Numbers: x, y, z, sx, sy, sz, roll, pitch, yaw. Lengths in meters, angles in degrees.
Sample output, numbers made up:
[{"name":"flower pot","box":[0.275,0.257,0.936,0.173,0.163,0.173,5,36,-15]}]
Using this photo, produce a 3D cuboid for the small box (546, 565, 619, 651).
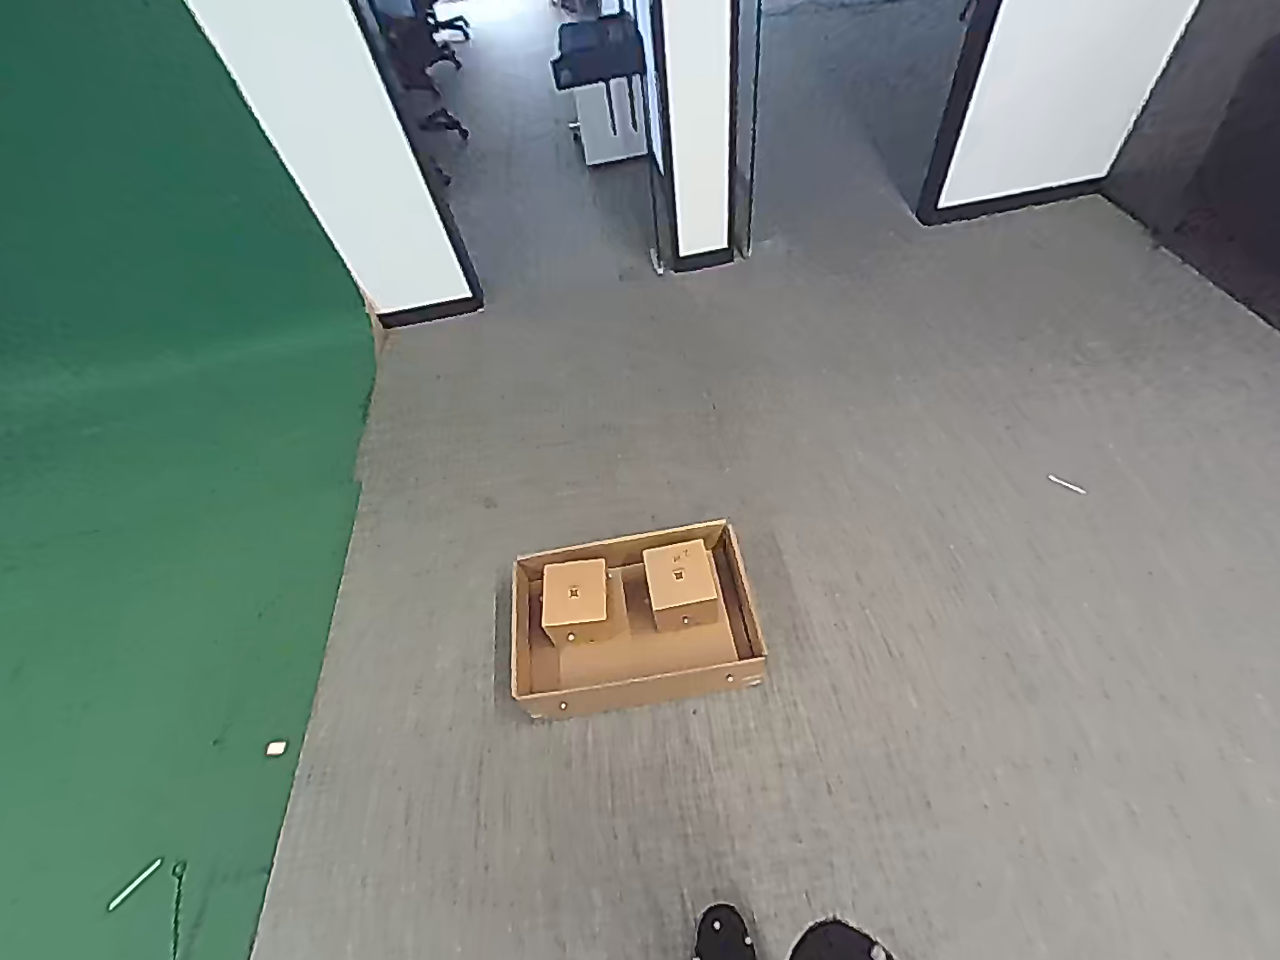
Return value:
[{"name":"small box","box":[-0.151,0.351,1.459,0.168,0.176,0.179,-7,52,3]}]

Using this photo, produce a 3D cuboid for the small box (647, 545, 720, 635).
[{"name":"small box","box":[0.118,0.302,1.451,0.168,0.176,0.179,-11,53,1]}]
